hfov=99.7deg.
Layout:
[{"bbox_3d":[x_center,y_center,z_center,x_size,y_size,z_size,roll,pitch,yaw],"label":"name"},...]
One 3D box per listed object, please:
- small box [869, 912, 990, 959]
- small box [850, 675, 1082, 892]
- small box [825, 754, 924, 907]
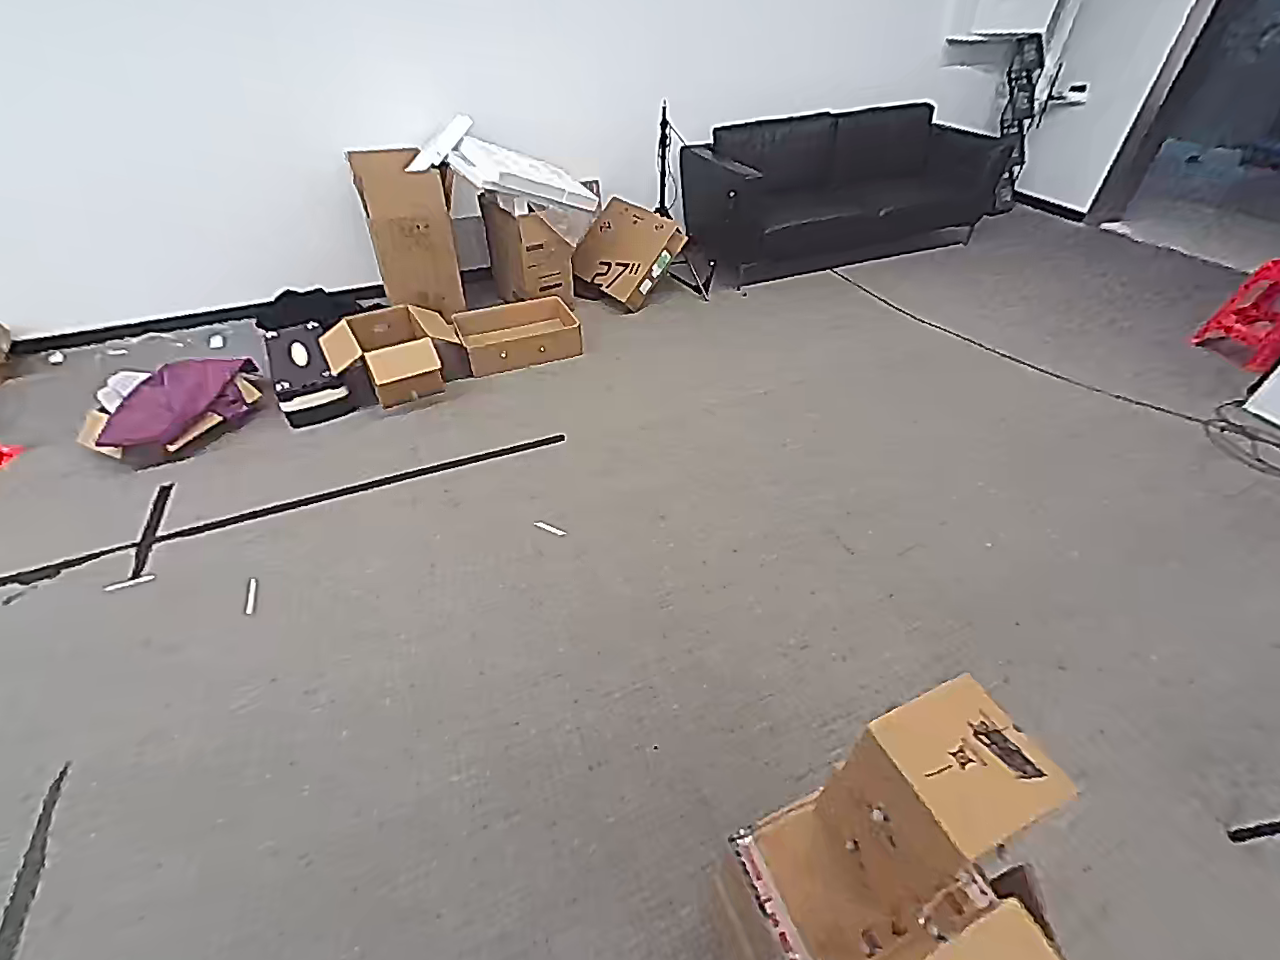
[{"bbox_3d":[0.354,0.675,0.656,0.179,0.176,0.168,-18,46,-16],"label":"small box"},{"bbox_3d":[0.407,0.396,0.710,0.179,0.176,0.168,-19,44,-15],"label":"small box"},{"bbox_3d":[0.412,0.508,0.832,0.179,0.176,0.168,-21,44,-17],"label":"small box"}]
